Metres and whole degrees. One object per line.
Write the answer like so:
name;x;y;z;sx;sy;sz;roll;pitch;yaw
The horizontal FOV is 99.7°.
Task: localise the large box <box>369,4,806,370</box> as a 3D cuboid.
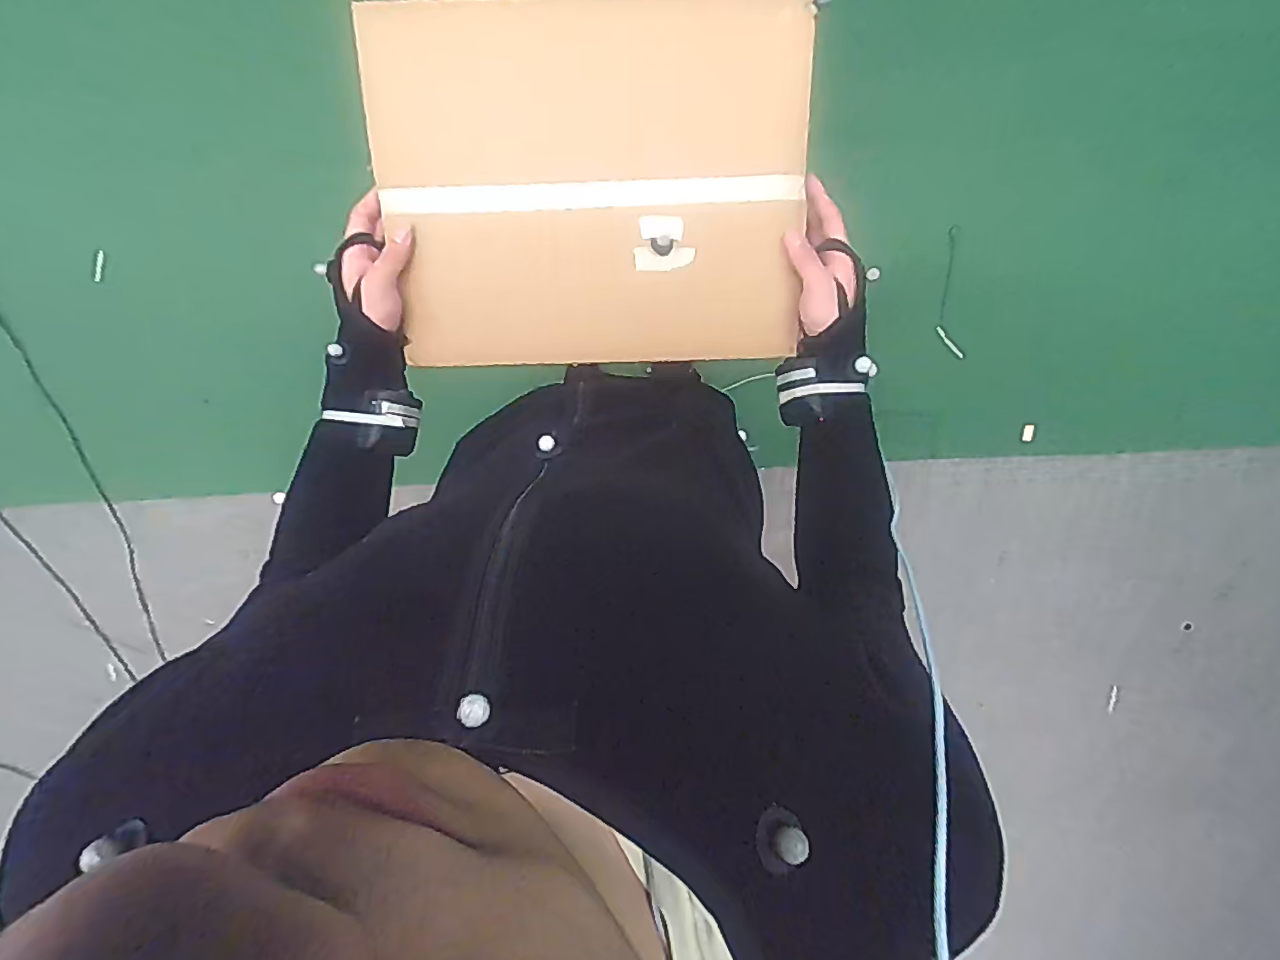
large box;-0.045;-0.314;0.671;0.408;0.320;0.320;-2;107;0
